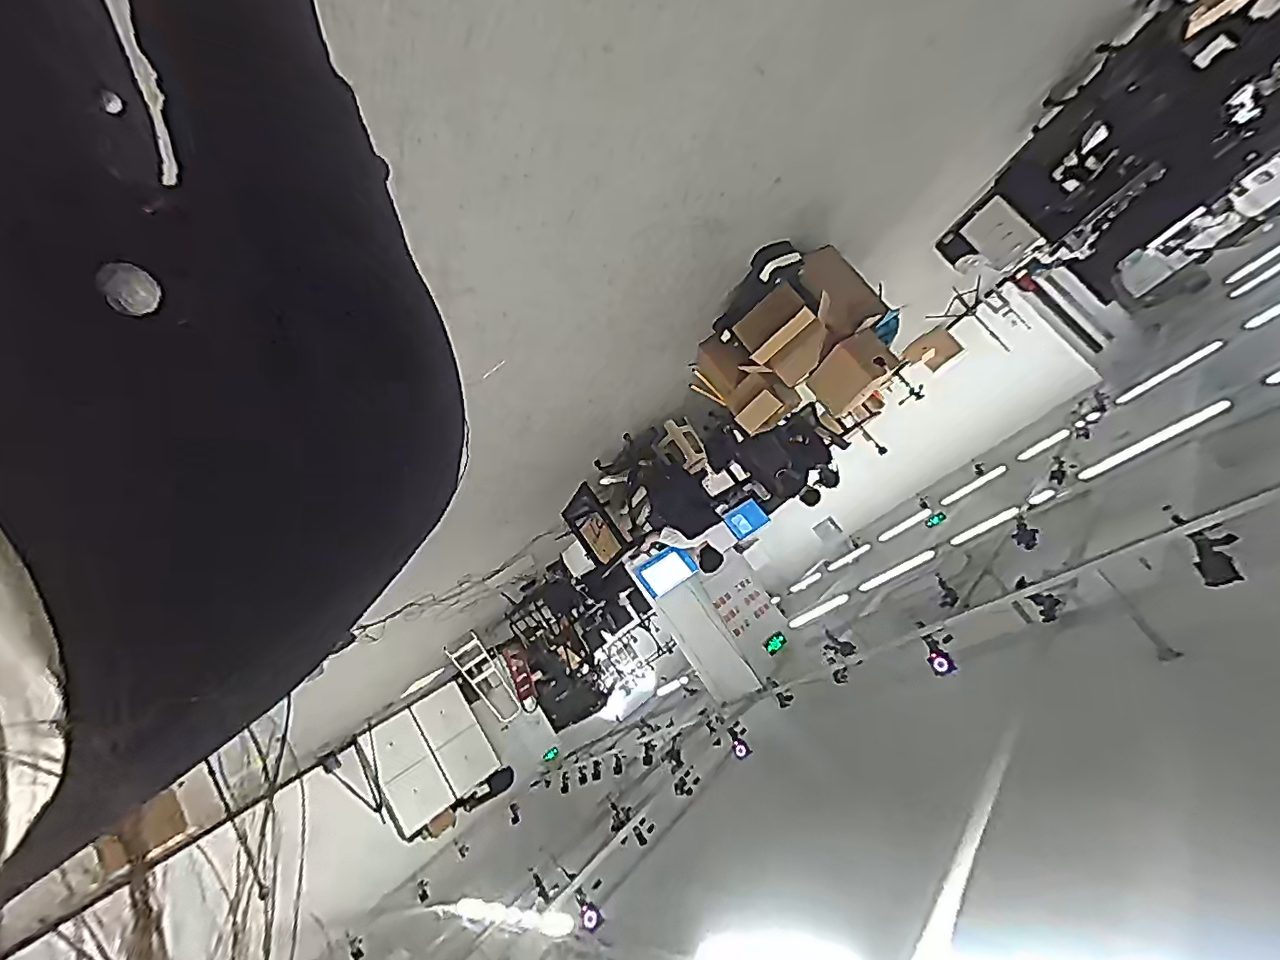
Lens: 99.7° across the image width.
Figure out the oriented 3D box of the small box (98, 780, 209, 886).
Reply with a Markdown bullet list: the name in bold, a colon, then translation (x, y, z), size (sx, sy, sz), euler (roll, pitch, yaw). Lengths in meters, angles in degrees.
- **small box**: translation (-1.324, 0.956, 1.473), size (0.179, 0.176, 0.168), euler (-26, 164, -36)

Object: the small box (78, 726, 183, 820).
- **small box**: translation (-1.434, 0.826, 1.527), size (0.168, 0.176, 0.179), euler (-24, 164, -42)
